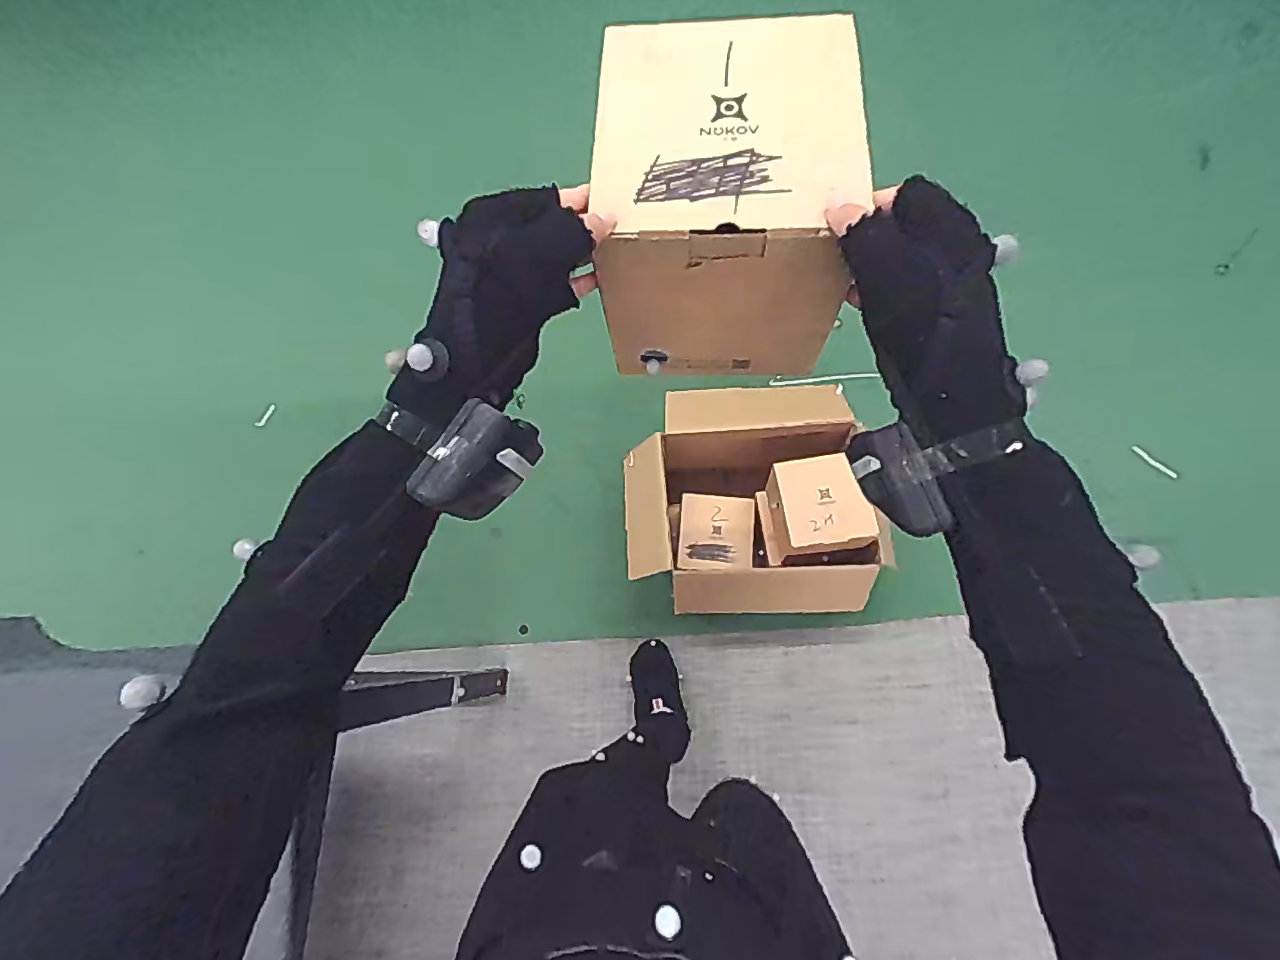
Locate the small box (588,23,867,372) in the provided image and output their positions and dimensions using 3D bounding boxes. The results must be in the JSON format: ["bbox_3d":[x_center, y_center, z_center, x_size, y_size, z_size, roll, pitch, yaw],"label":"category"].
[{"bbox_3d":[0.061,-0.196,0.415,0.168,0.176,0.179,2,72,5],"label":"small box"}]
